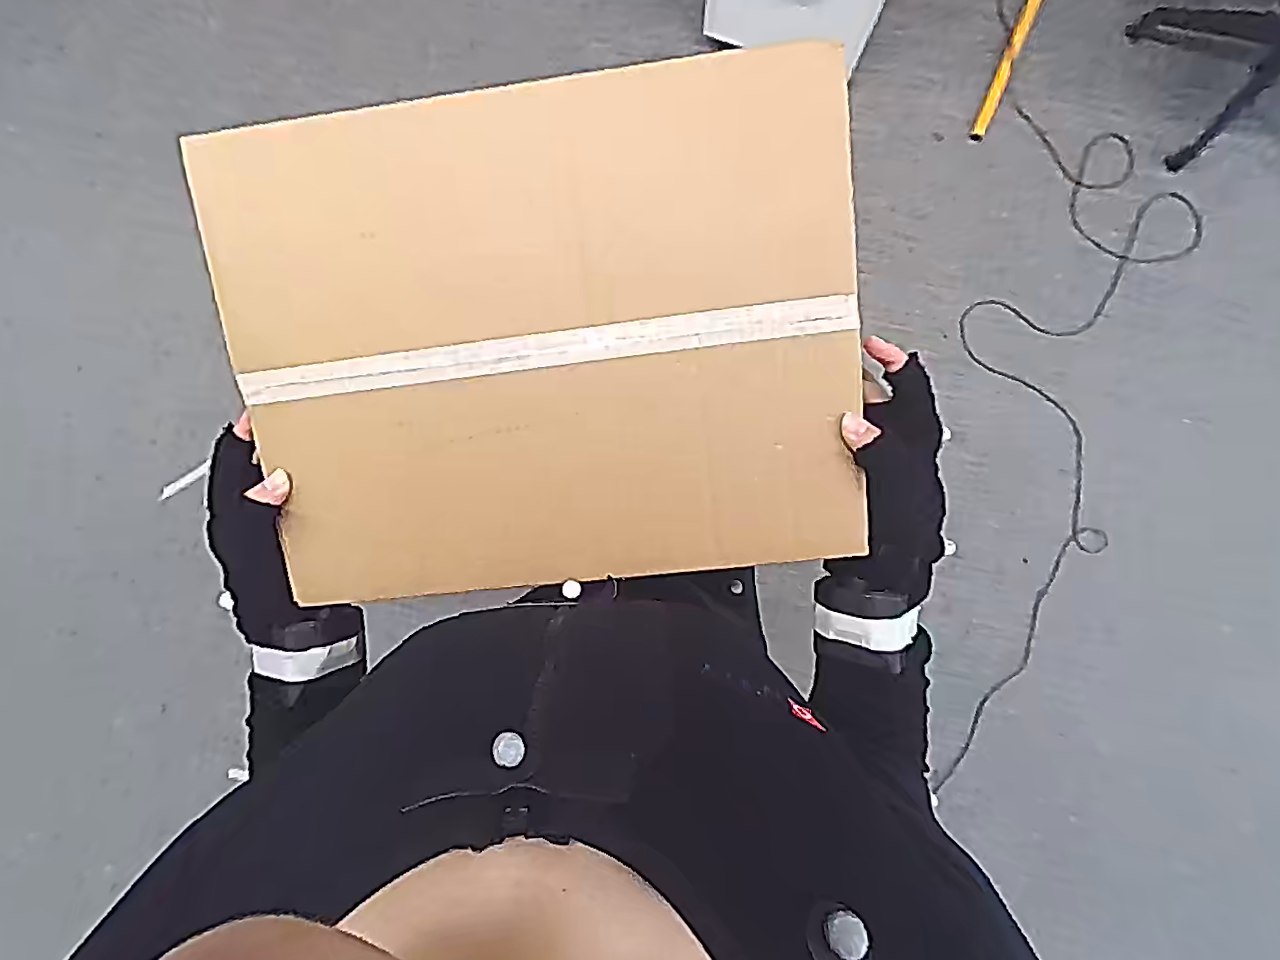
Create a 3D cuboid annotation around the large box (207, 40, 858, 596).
[{"bbox_3d":[-0.060,-0.113,0.505,0.408,0.320,0.320,-7,101,4],"label":"large box"}]
